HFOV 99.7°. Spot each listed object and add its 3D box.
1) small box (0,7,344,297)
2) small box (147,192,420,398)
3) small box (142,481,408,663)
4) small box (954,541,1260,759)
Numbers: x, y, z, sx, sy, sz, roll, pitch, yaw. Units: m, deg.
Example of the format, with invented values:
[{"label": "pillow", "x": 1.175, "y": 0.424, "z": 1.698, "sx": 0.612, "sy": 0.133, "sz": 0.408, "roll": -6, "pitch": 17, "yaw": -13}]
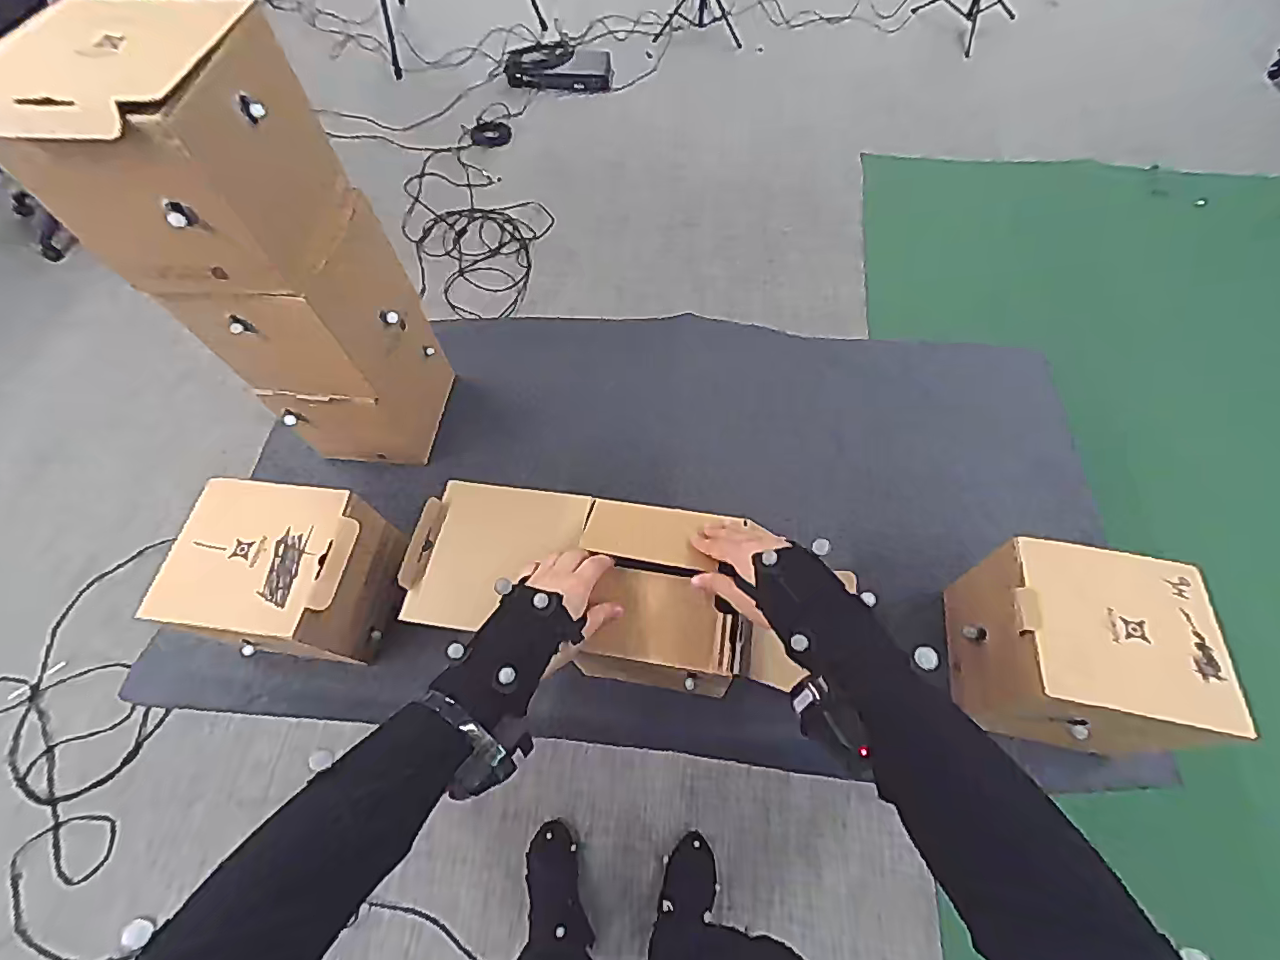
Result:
[{"label": "small box", "x": -0.405, "y": -0.287, "z": 0.492, "sx": 0.168, "sy": 0.176, "sz": 0.179, "roll": 2, "pitch": 62, "yaw": 2}, {"label": "small box", "x": -0.393, "y": -0.212, "z": 0.635, "sx": 0.179, "sy": 0.176, "sz": 0.168, "roll": 5, "pitch": 64, "yaw": 4}, {"label": "small box", "x": -0.411, "y": 0.118, "z": 0.650, "sx": 0.179, "sy": 0.176, "sz": 0.168, "roll": 5, "pitch": 63, "yaw": 5}, {"label": "small box", "x": 0.459, "y": 0.186, "z": 0.576, "sx": 0.179, "sy": 0.176, "sz": 0.168, "roll": 10, "pitch": 59, "yaw": 8}]
